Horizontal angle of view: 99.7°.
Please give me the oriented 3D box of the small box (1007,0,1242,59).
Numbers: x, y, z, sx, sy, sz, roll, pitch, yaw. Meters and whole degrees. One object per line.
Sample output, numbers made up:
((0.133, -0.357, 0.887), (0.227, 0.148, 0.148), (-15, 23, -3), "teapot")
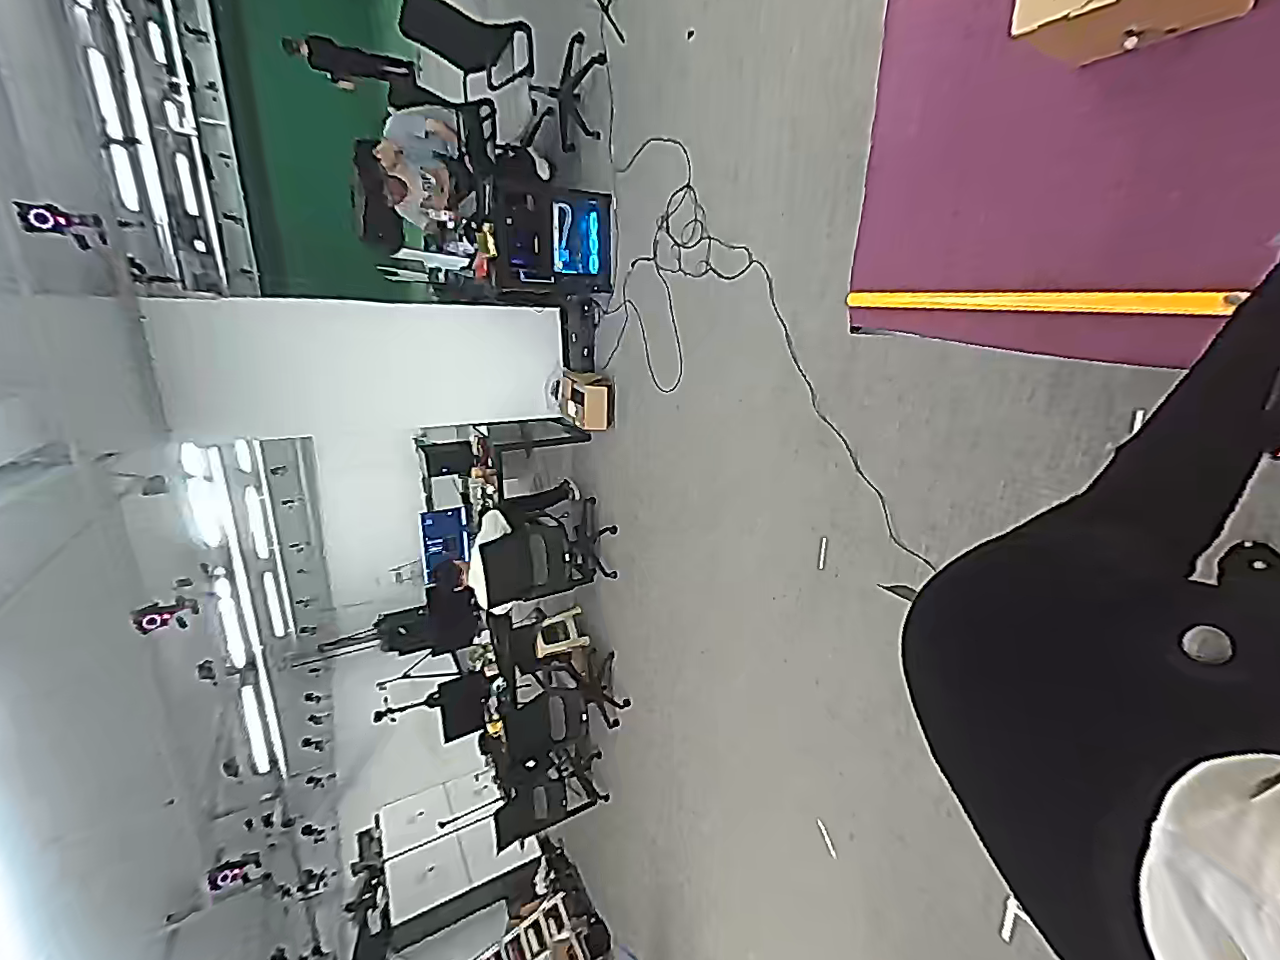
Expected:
((0.547, -0.603, 0.588), (0.168, 0.176, 0.179), (30, 125, 55), "small box")
